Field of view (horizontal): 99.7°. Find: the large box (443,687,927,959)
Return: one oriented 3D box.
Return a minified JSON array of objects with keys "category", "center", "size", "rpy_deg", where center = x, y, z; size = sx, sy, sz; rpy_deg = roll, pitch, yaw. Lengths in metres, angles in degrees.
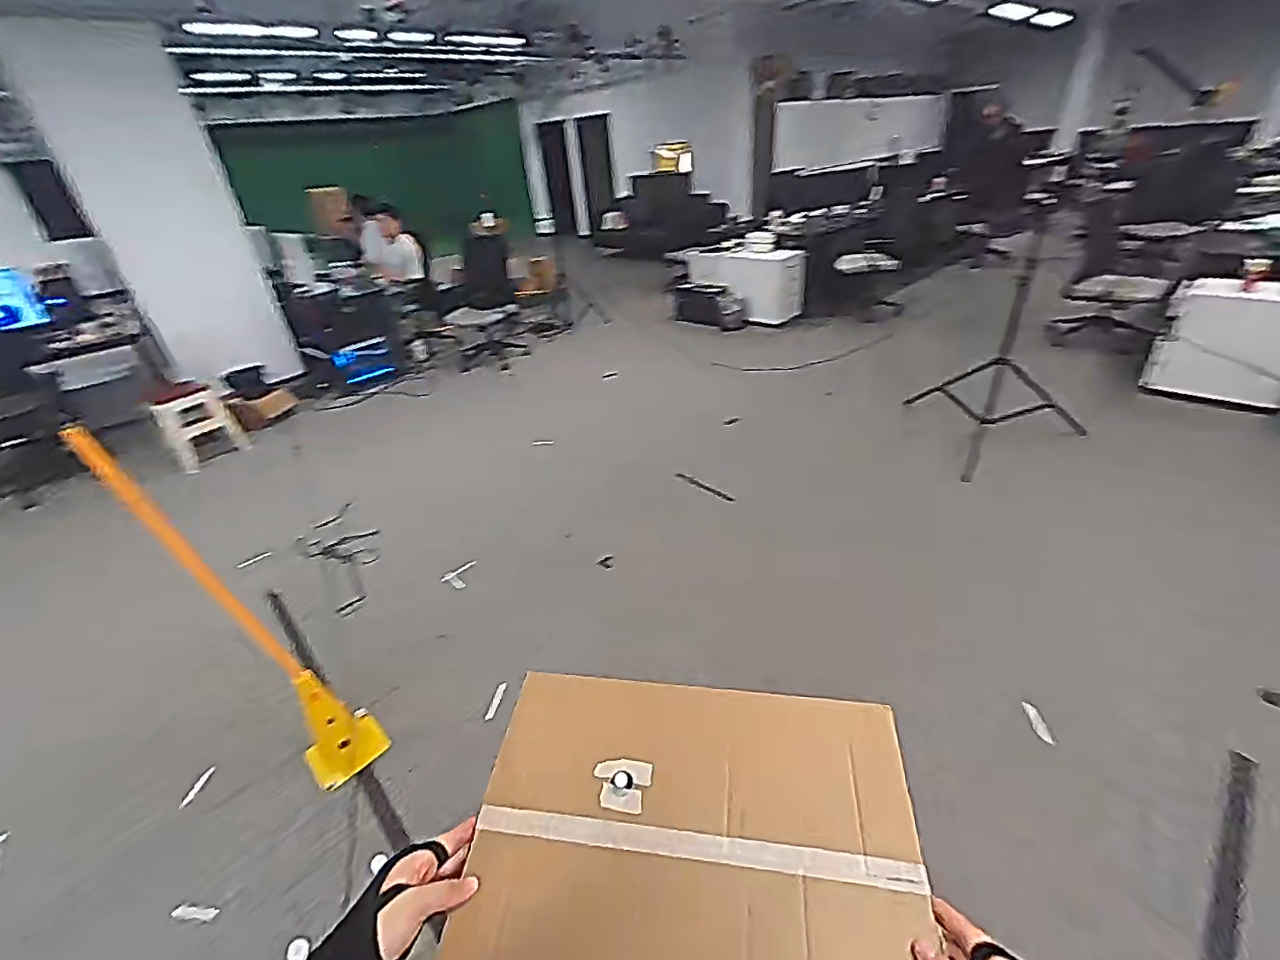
[{"category":"large box","center":[0.057,0.455,0.597],"size":[0.408,0.320,0.320],"rpy_deg":[-1,39,10]}]
